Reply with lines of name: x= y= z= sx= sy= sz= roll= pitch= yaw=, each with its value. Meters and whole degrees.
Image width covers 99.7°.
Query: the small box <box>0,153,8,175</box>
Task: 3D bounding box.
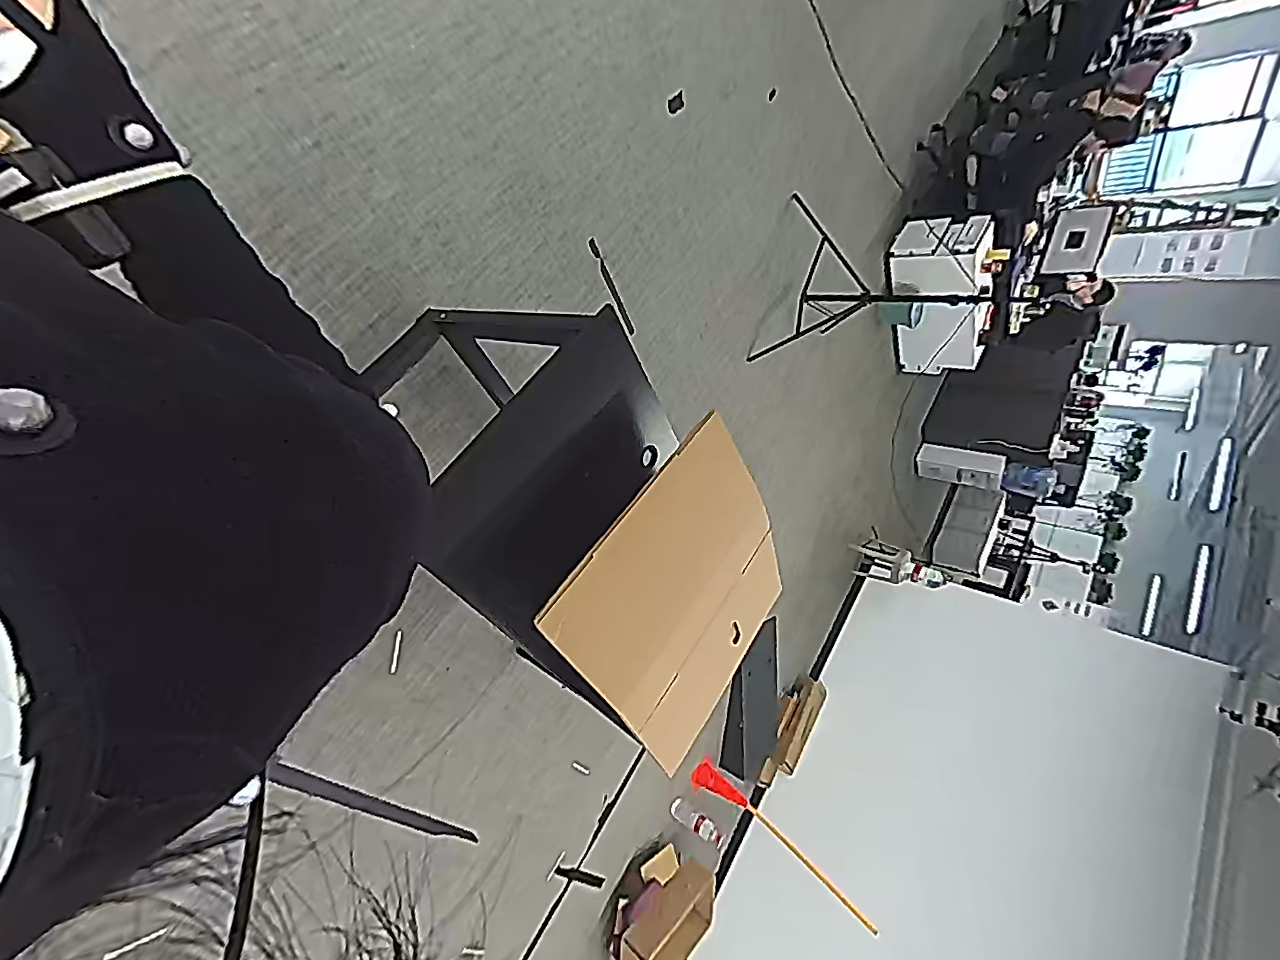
small box: x=-1.122 y=-0.495 z=0.806 sx=0.179 sy=0.176 sz=0.168 roll=-56 pitch=138 yaw=-20
